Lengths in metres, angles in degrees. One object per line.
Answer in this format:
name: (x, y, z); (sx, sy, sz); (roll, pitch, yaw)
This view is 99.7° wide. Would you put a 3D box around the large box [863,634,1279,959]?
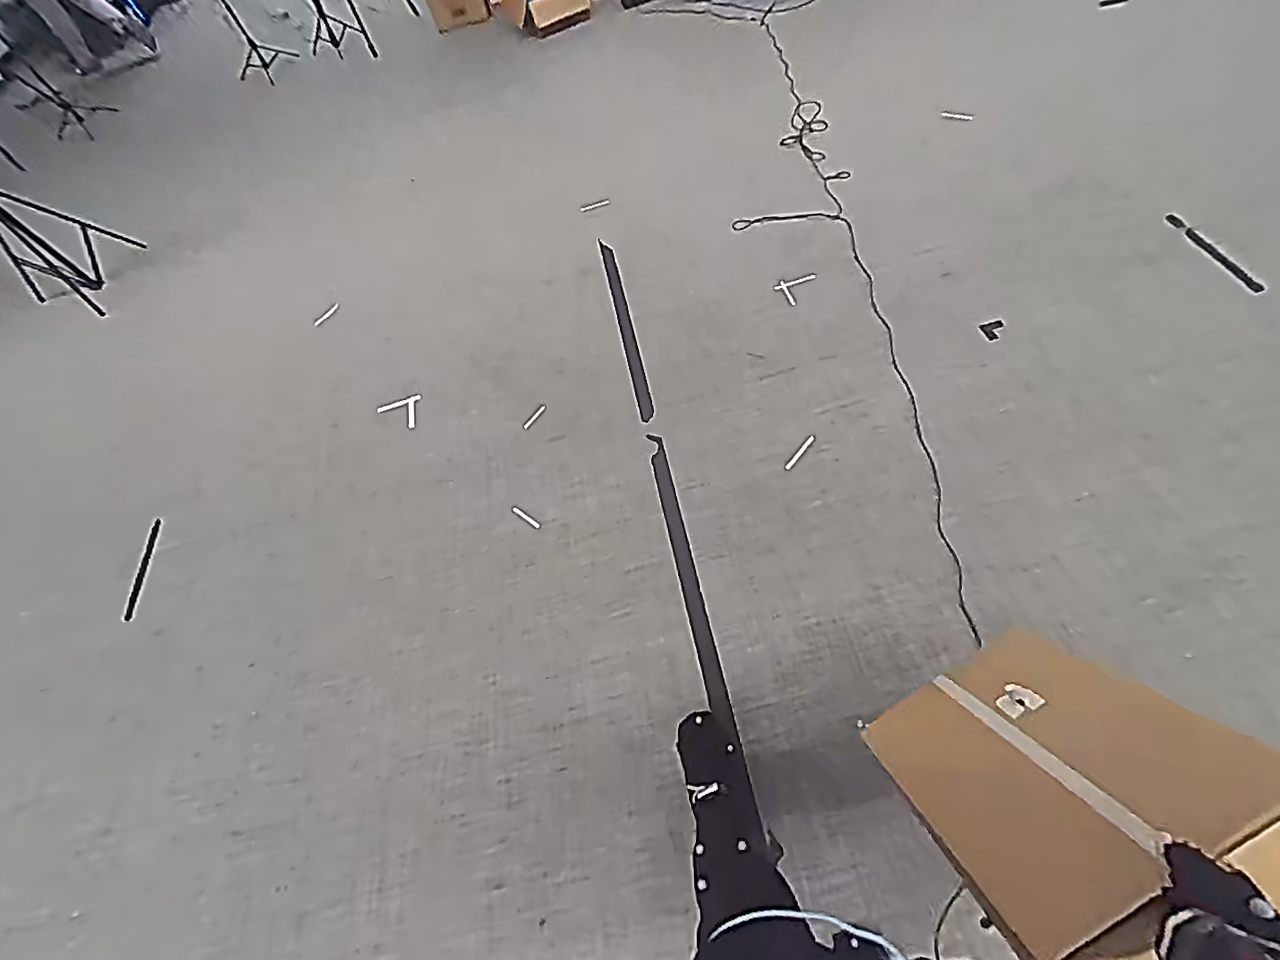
large box: (0.580, 0.470, 0.699); (0.320, 0.408, 0.320); (-33, 94, 1)
